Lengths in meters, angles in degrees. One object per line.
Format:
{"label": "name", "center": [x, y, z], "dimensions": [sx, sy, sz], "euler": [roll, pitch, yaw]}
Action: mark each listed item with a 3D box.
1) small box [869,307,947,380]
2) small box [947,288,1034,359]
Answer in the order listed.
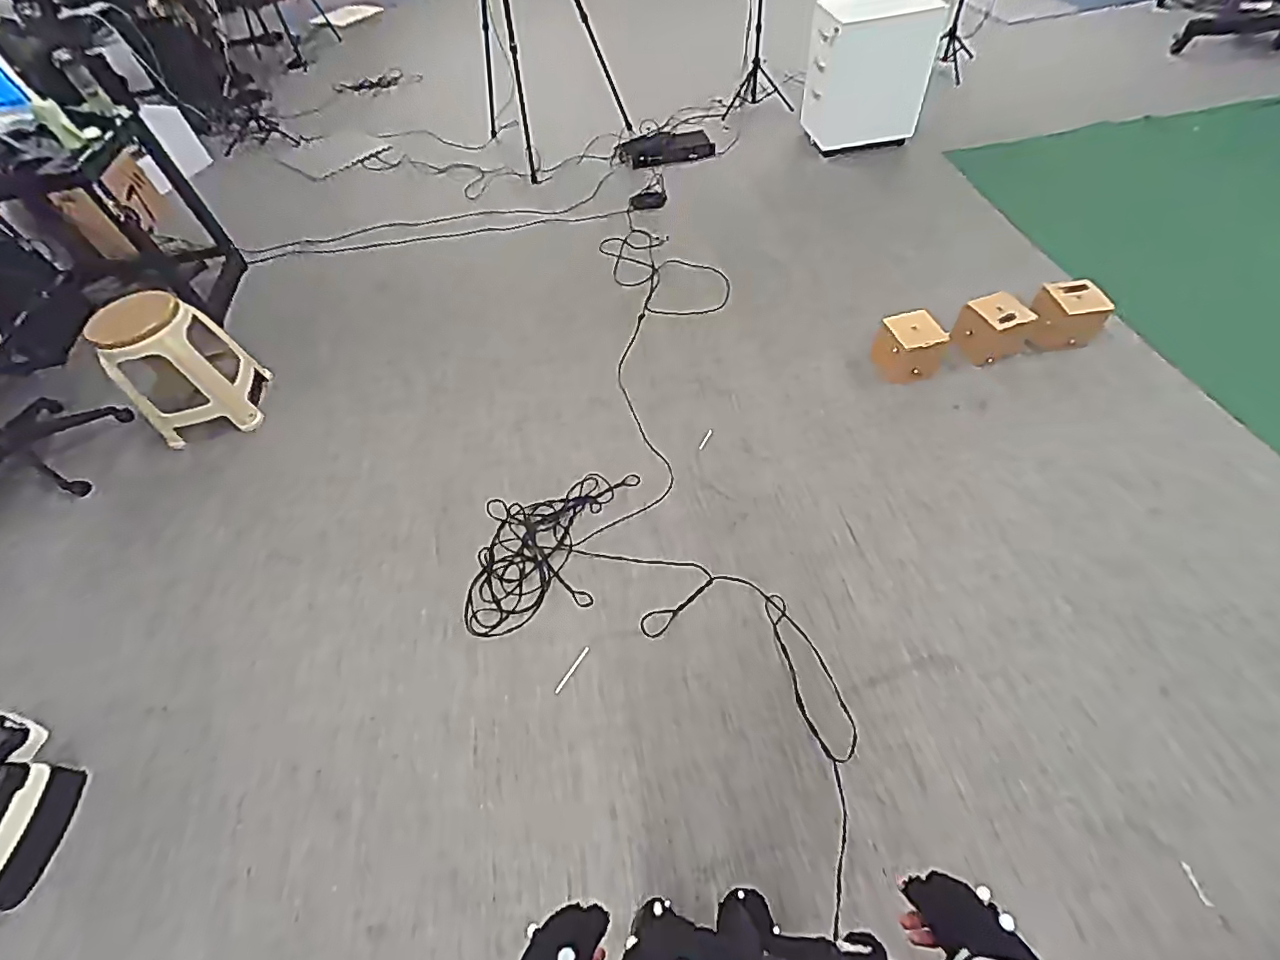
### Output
{"label": "small box", "center": [0.958, -0.492, 1.953], "dimensions": [0.168, 0.176, 0.179], "euler": [-14, 55, -4]}
{"label": "small box", "center": [1.268, -0.564, 1.971], "dimensions": [0.168, 0.176, 0.179], "euler": [-17, 54, -7]}
